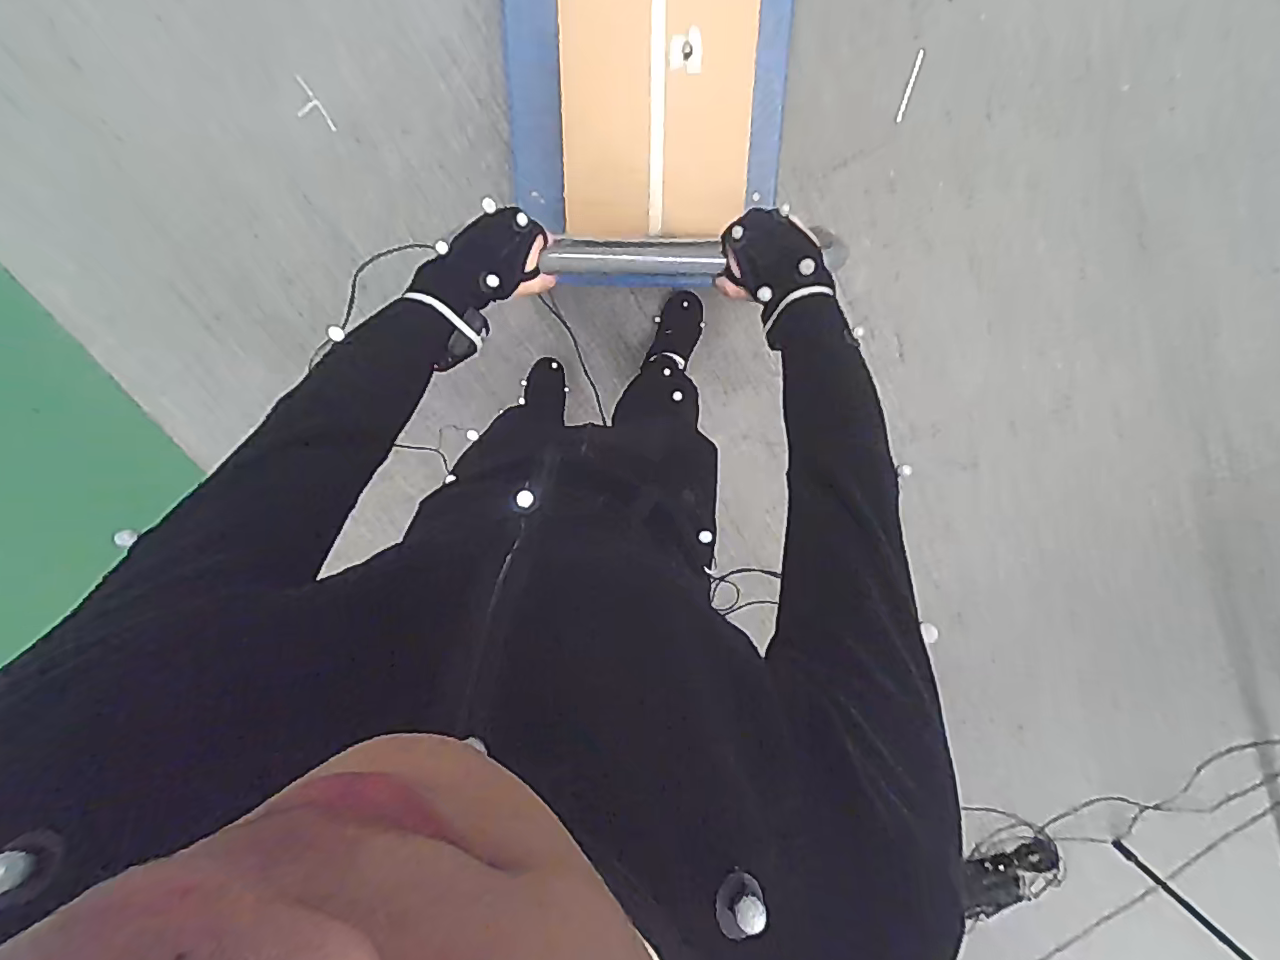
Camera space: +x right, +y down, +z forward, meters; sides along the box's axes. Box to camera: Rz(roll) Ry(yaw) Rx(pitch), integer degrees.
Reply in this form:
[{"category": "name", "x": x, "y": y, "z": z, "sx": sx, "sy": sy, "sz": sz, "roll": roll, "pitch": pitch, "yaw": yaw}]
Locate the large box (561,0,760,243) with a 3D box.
[{"category": "large box", "x": 0.038, "y": -0.673, "z": 1.018, "sx": 0.320, "sy": 0.320, "sz": 0.408, "roll": 1, "pitch": 112, "yaw": 1}]
